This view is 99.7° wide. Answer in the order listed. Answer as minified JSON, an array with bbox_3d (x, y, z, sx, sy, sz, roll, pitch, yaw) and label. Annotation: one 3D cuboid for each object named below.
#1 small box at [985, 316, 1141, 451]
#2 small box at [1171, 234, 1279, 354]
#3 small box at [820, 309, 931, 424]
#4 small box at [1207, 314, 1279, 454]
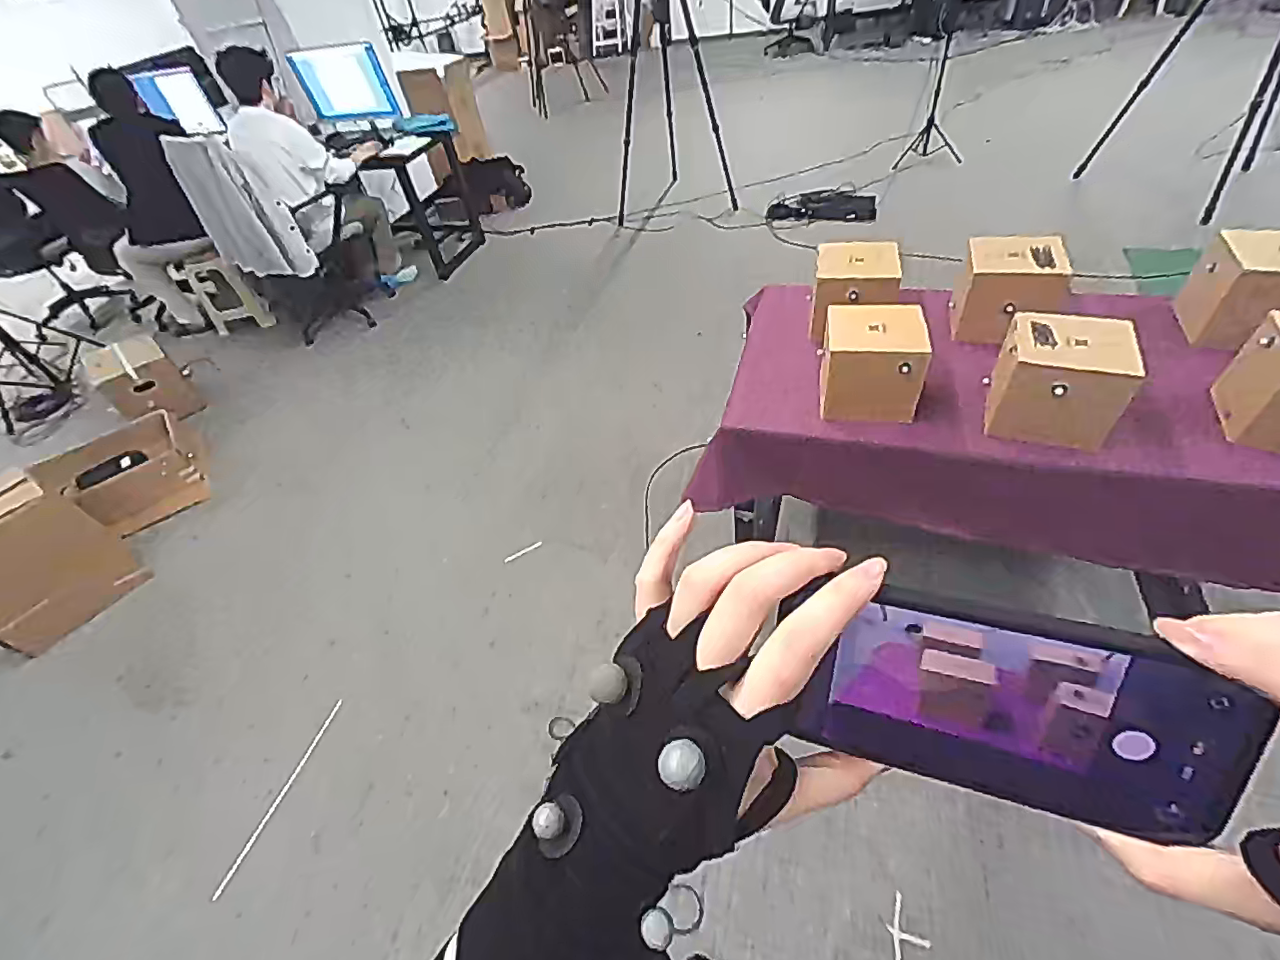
[{"bbox_3d":[0.751,-0.174,0.982,0.179,0.176,0.168,14,51,21],"label":"small box"},{"bbox_3d":[1.221,-0.370,1.081,0.168,0.176,0.179,11,50,21],"label":"small box"},{"bbox_3d":[0.460,-0.227,1.087,0.179,0.176,0.168,5,47,13],"label":"small box"},{"bbox_3d":[1.109,-0.148,0.890,0.179,0.176,0.168,14,50,22],"label":"small box"}]
